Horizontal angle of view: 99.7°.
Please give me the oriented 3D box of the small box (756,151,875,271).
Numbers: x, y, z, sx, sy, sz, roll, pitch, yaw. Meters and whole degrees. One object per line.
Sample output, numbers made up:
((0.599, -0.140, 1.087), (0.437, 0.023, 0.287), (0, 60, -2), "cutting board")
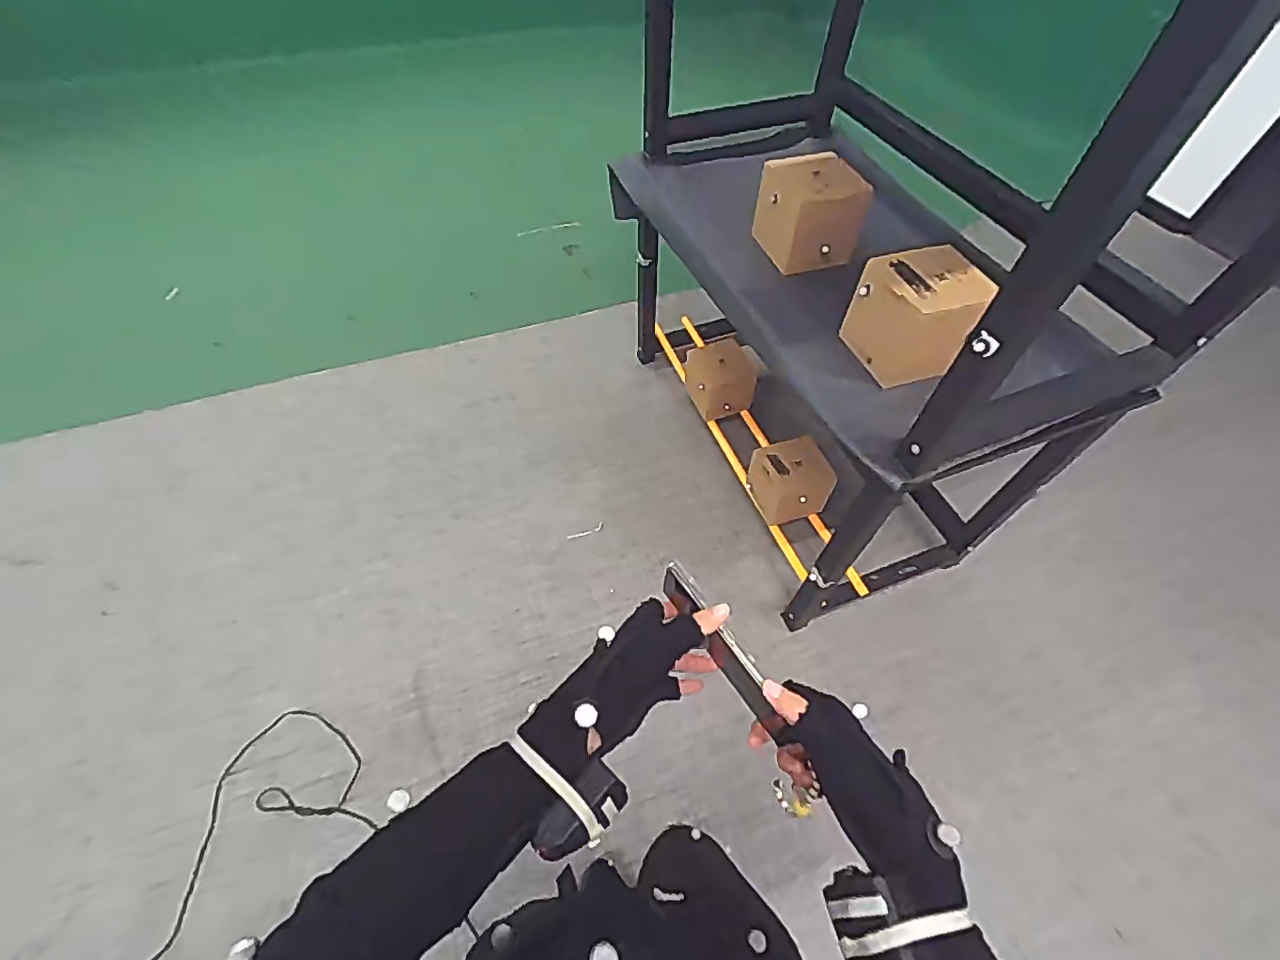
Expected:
((0.371, -0.587, 1.185), (0.168, 0.176, 0.179), (-15, 56, -10), "small box")

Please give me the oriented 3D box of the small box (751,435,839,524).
((0.426, 0.004, 1.532), (0.179, 0.176, 0.168), (-15, 57, -10), "small box")
